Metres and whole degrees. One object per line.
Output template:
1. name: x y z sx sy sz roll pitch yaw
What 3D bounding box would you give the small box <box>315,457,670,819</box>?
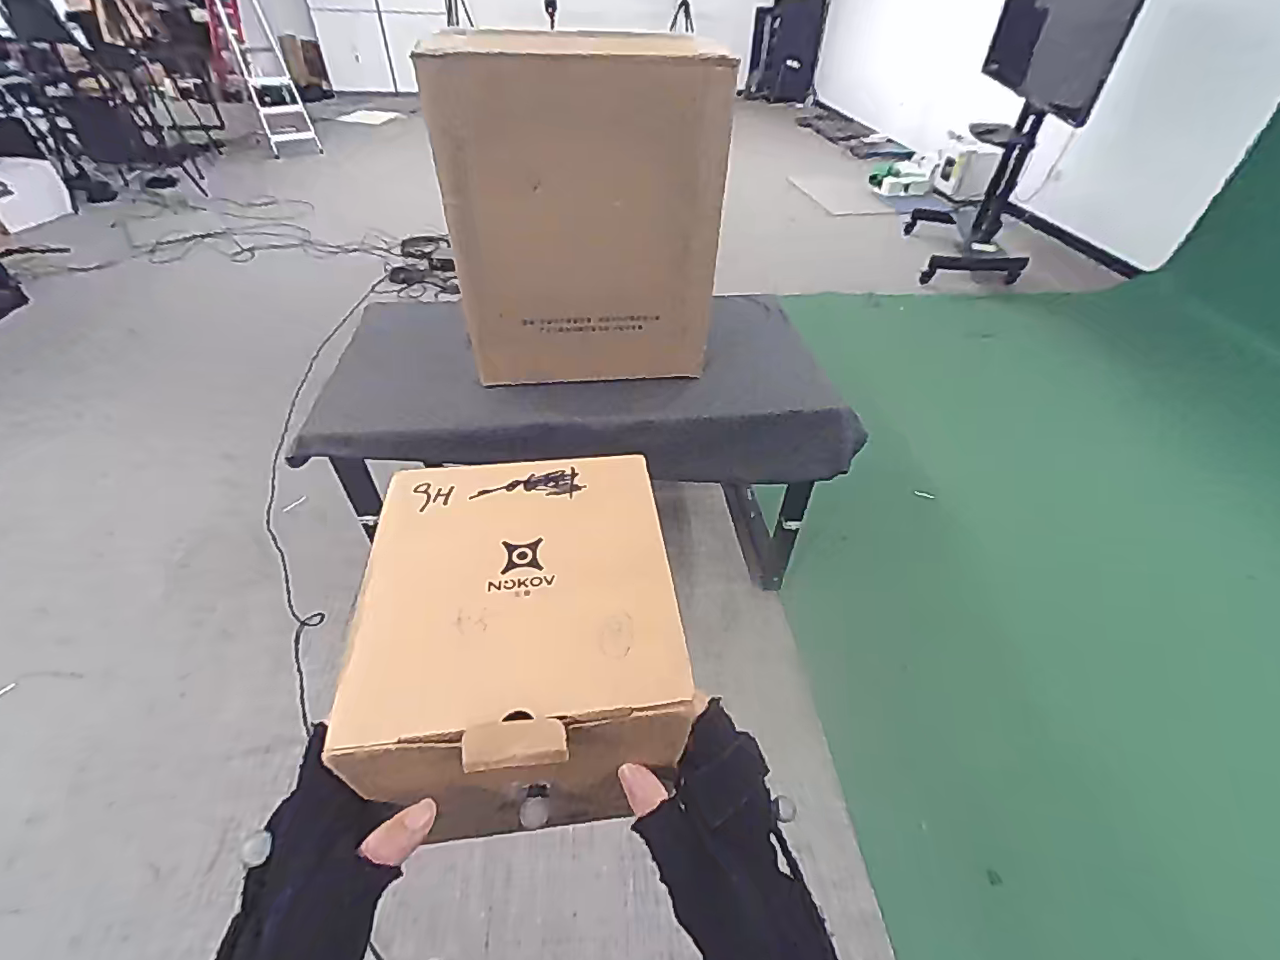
1. small box: -0.076 0.106 0.360 0.168 0.176 0.179 -3 45 -6
